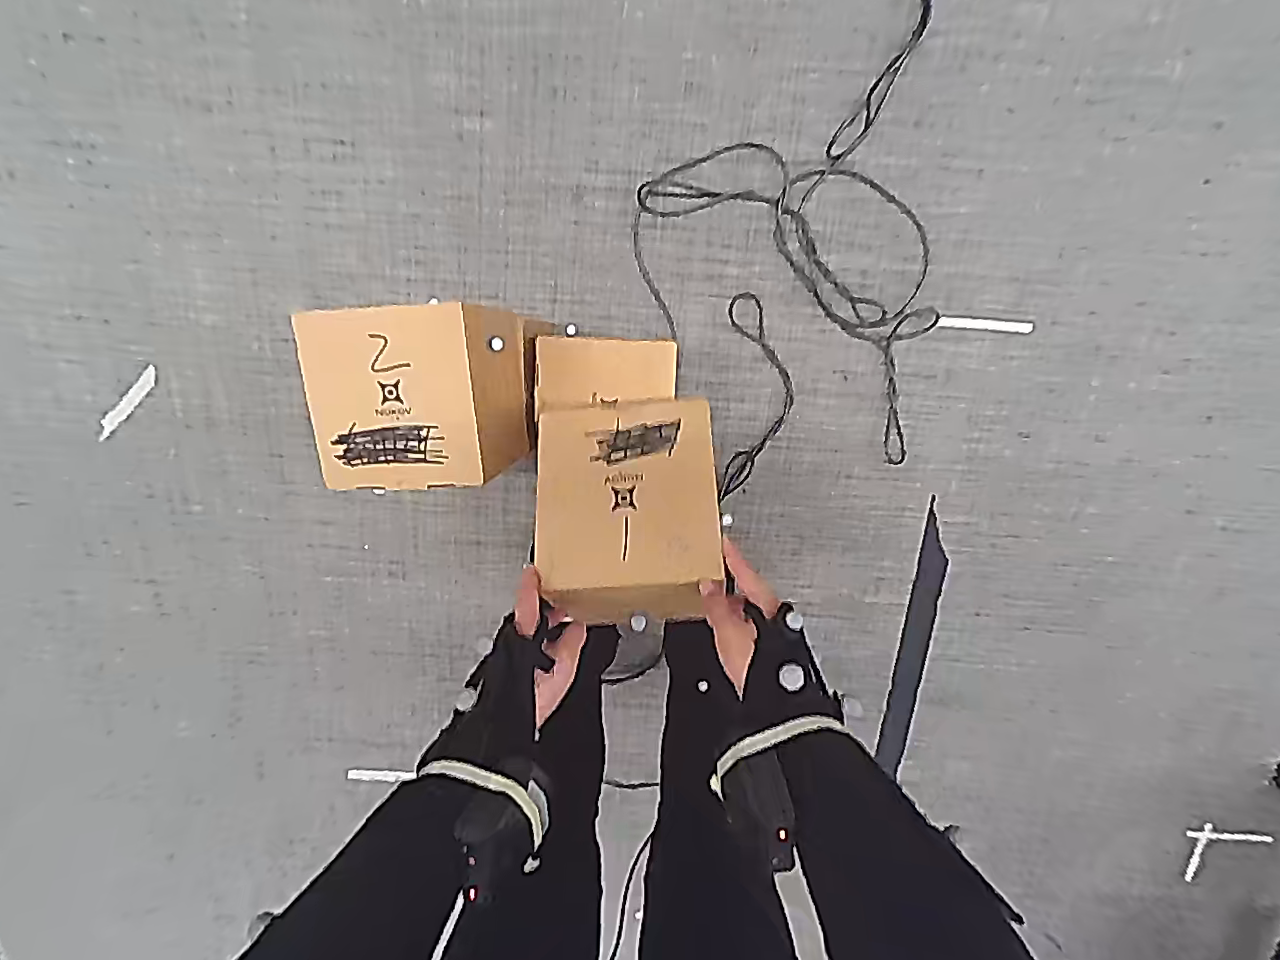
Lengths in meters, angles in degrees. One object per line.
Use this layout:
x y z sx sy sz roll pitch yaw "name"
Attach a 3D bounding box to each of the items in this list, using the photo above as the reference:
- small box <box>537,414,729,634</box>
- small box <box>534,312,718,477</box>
0.001 0.054 0.562 0.168 0.176 0.179 -5 65 6 "small box"
-0.024 -0.084 0.686 0.168 0.176 0.179 23 115 -18 "small box"
